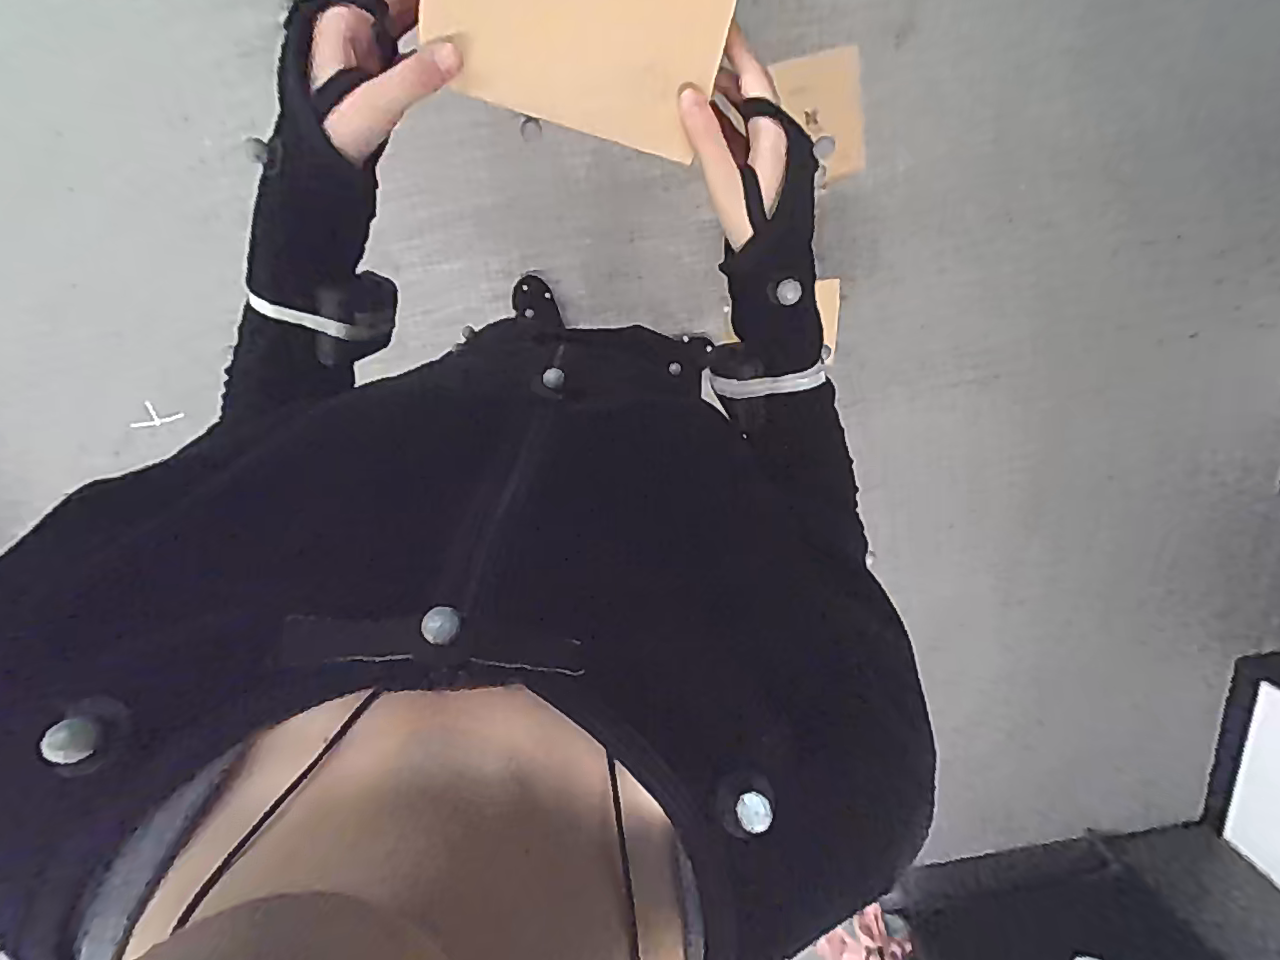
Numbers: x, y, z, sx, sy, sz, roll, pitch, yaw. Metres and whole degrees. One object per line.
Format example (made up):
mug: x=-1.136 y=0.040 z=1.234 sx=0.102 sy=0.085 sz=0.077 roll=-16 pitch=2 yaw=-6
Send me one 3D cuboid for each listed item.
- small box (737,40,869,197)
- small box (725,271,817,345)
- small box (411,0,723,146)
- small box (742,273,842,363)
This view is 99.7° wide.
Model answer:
small box: x=0.270 y=-0.595 z=0.918 sx=0.168 sy=0.176 sz=0.179 roll=-12 pitch=109 yaw=1
small box: x=0.316 y=-0.426 z=1.334 sx=0.179 sy=0.176 sz=0.168 roll=-2 pitch=110 yaw=-2
small box: x=-0.033 y=-0.333 z=0.342 sx=0.168 sy=0.176 sz=0.179 roll=10 pitch=120 yaw=-11
small box: x=0.323 y=-0.355 z=1.185 sx=0.168 sy=0.176 sz=0.179 roll=-2 pitch=109 yaw=-2
